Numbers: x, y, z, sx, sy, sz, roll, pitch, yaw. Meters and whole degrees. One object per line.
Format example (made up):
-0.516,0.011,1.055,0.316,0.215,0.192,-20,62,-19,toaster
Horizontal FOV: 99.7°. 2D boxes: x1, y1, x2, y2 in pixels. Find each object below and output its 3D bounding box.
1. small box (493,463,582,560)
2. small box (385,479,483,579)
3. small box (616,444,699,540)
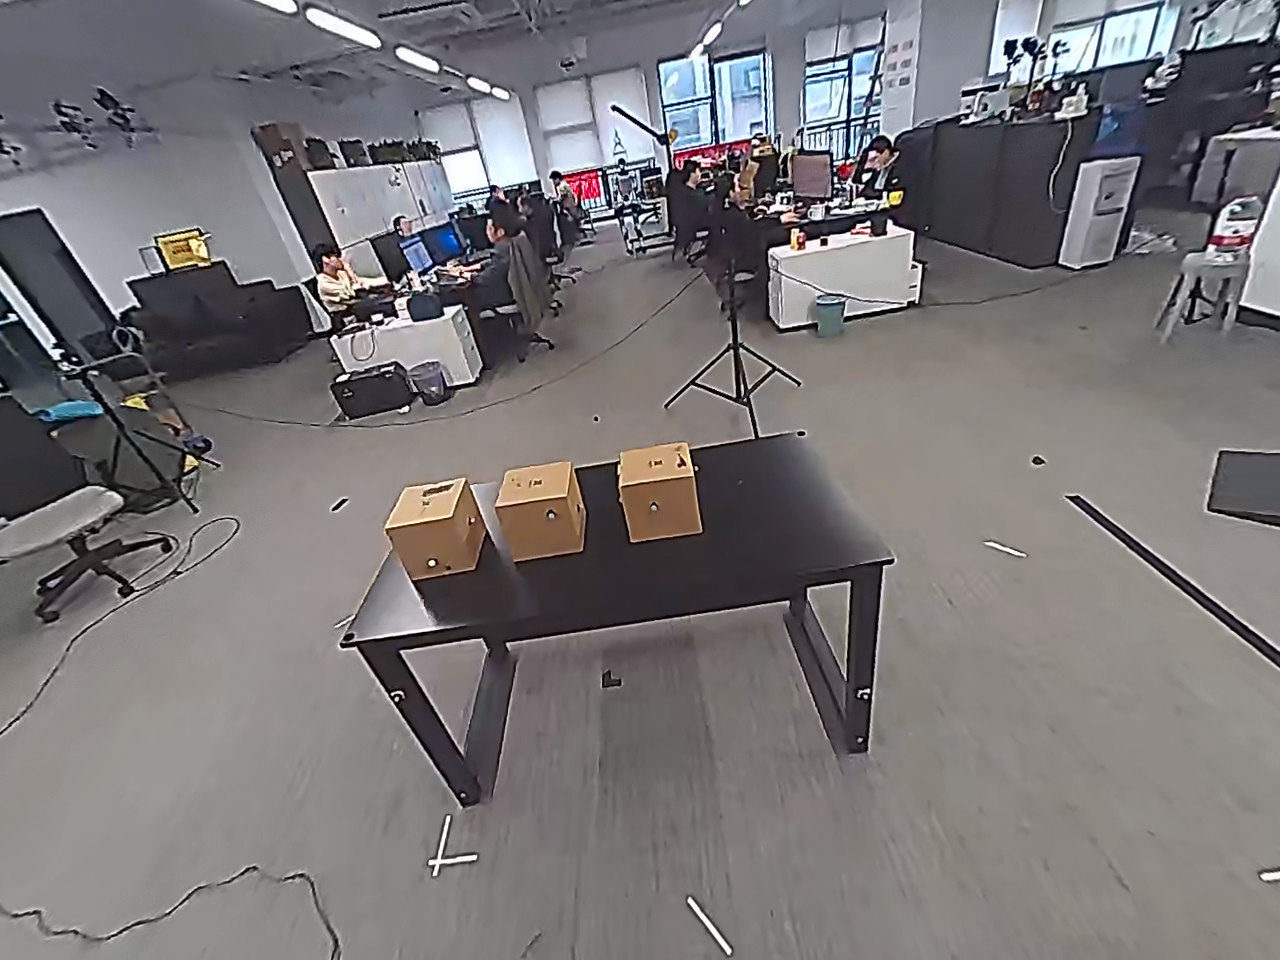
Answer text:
-0.245,0.079,1.353,0.179,0.176,0.168,-9,31,2,small box
-0.508,0.123,1.366,0.168,0.176,0.179,-10,33,1,small box
0.044,0.033,1.339,0.179,0.176,0.168,-9,32,5,small box
